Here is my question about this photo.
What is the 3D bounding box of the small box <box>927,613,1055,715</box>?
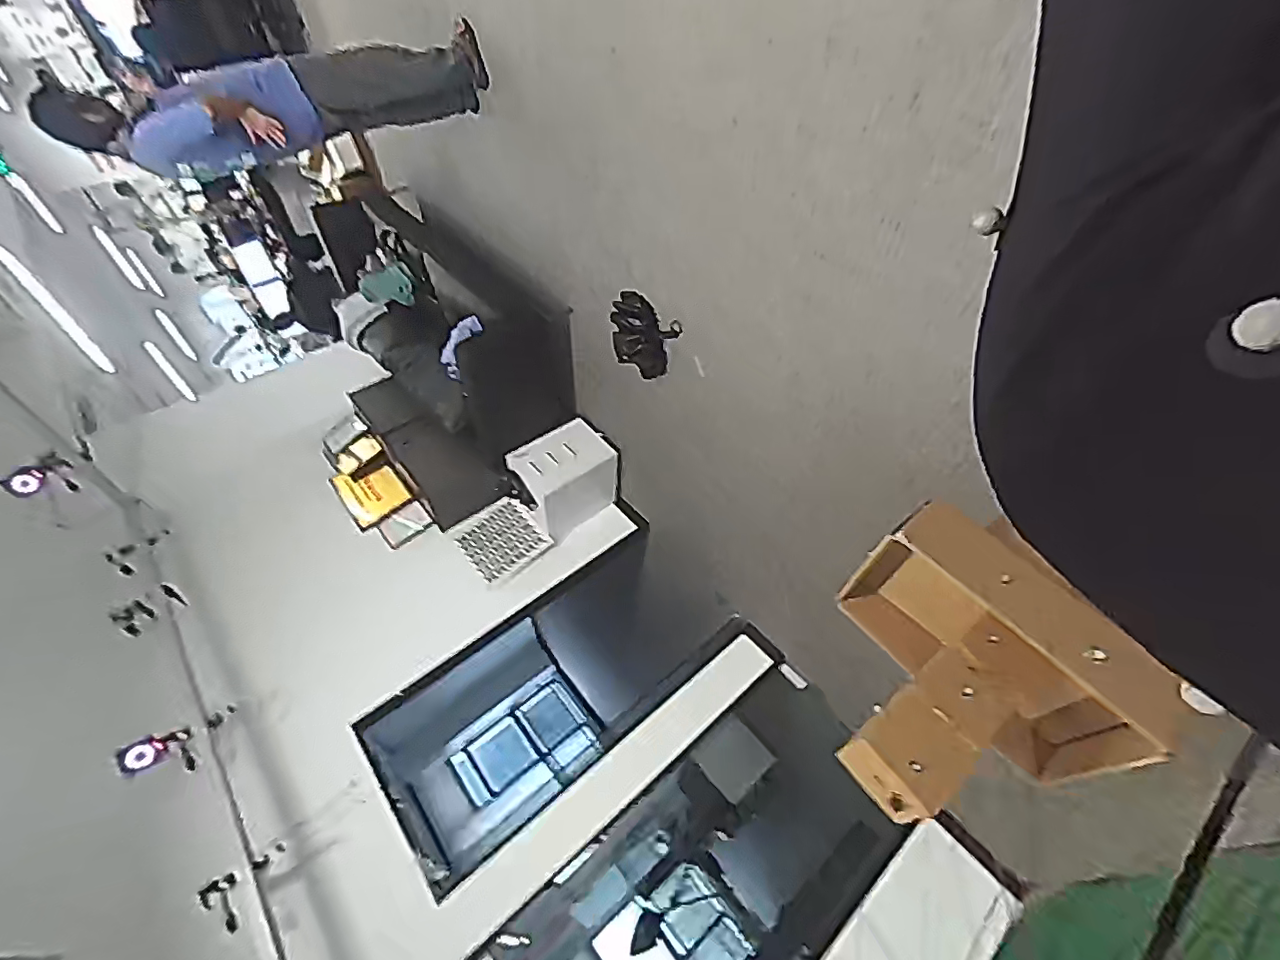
[{"bbox_3d":[0.834,0.448,1.285,0.168,0.176,0.179,47,155,28],"label":"small box"}]

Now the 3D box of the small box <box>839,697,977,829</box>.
[{"bbox_3d":[0.573,0.605,1.161,0.179,0.176,0.168,48,153,28],"label":"small box"}]

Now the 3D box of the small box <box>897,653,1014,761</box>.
[{"bbox_3d":[0.703,0.526,1.227,0.168,0.176,0.179,46,152,30],"label":"small box"}]
